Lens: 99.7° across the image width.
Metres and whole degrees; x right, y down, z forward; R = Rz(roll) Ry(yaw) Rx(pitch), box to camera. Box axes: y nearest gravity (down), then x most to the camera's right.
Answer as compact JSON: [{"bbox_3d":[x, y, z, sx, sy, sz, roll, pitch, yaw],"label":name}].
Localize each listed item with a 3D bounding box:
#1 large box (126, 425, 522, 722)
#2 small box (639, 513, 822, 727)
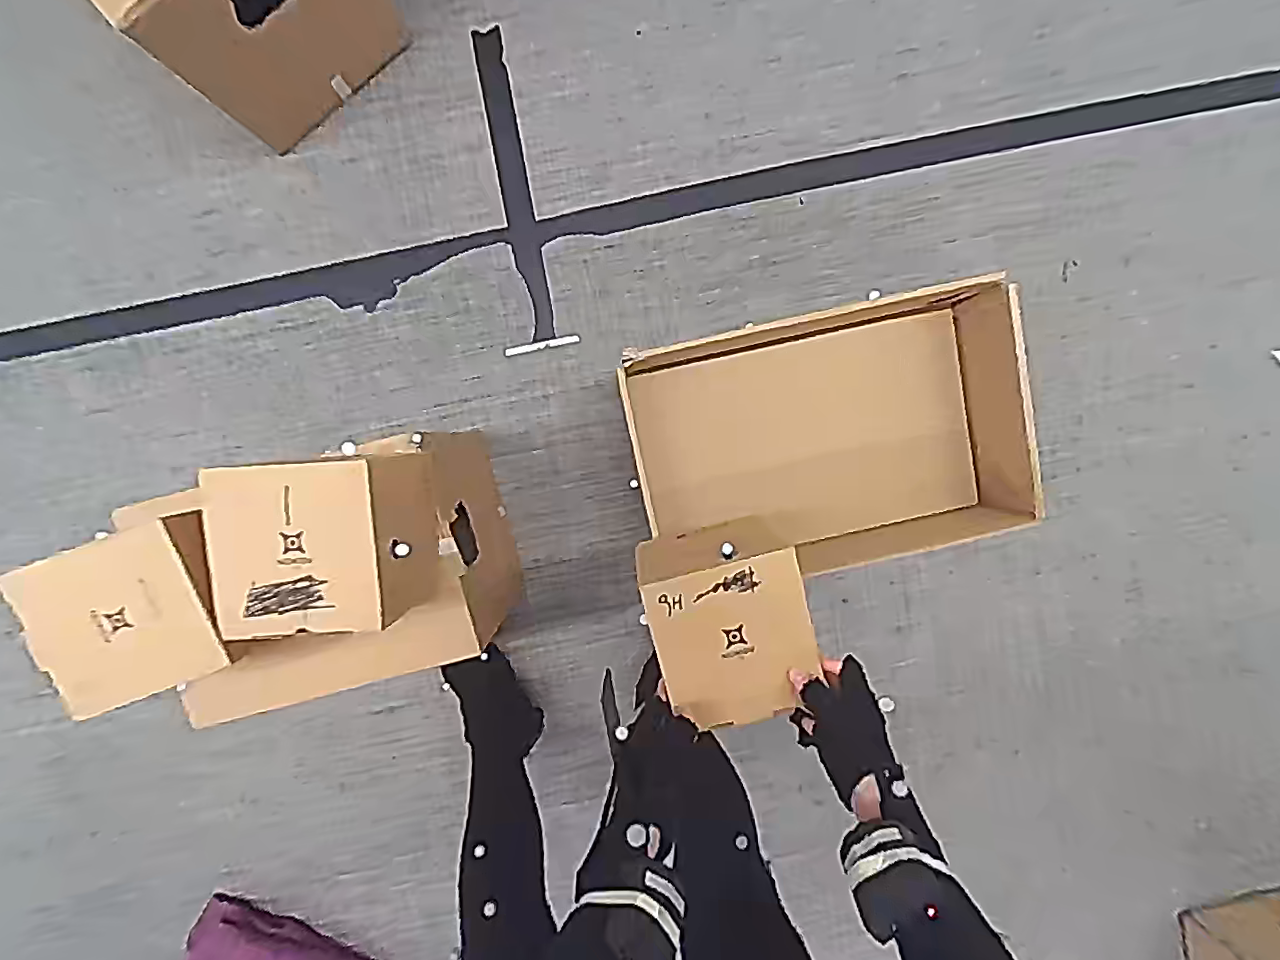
[{"bbox_3d":[-0.445,0.115,0.863,0.408,0.320,0.320,-15,97,-1],"label":"large box"},{"bbox_3d":[0.098,0.154,0.647,0.168,0.176,0.179,-14,99,1],"label":"small box"}]
